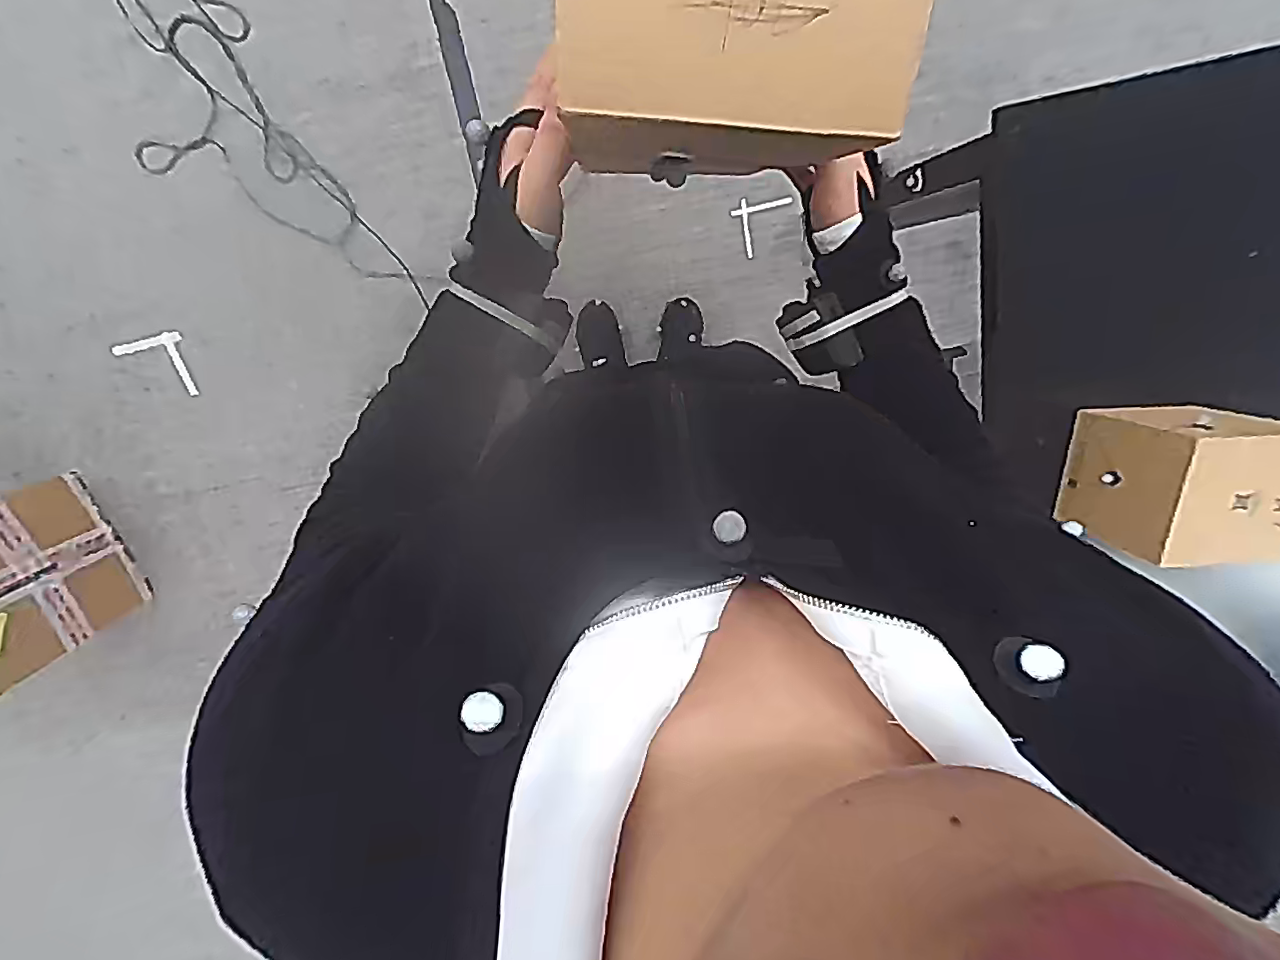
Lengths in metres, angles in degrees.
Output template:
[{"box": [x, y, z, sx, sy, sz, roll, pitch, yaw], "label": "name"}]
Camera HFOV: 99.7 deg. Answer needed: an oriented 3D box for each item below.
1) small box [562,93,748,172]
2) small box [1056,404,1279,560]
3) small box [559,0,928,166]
[{"box": [0.031, -0.353, 0.439, 0.179, 0.176, 0.168, 0, 115, -2], "label": "small box"}, {"box": [0.709, -0.005, 0.720, 0.179, 0.176, 0.168, -2, 109, -4], "label": "small box"}, {"box": [0.045, -0.283, 0.292, 0.168, 0.176, 0.179, 2, 116, -3], "label": "small box"}]
